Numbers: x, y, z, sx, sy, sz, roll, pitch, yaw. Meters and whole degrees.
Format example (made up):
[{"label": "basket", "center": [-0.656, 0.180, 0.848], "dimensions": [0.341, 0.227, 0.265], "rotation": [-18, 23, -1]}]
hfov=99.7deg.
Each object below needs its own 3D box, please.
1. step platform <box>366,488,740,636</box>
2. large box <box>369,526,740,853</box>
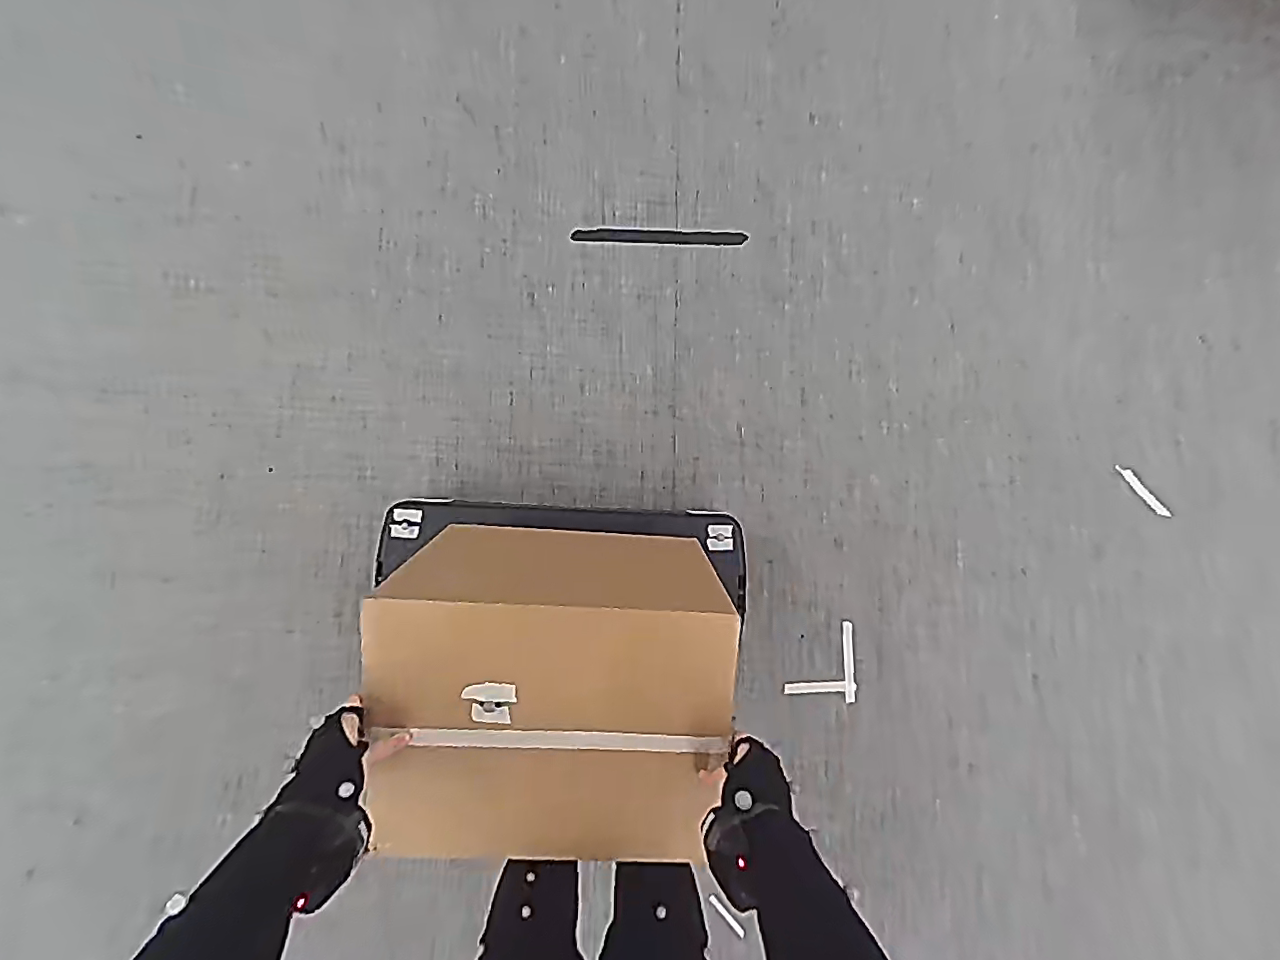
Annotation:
[{"label": "step platform", "center": [-0.152, 0.197, 1.048], "dimensions": [0.684, 0.204, 0.286], "rotation": [8, 86, -1]}, {"label": "large box", "center": [-0.097, 0.252, 0.745], "dimensions": [0.408, 0.320, 0.320], "rotation": [3, 98, -2]}]
